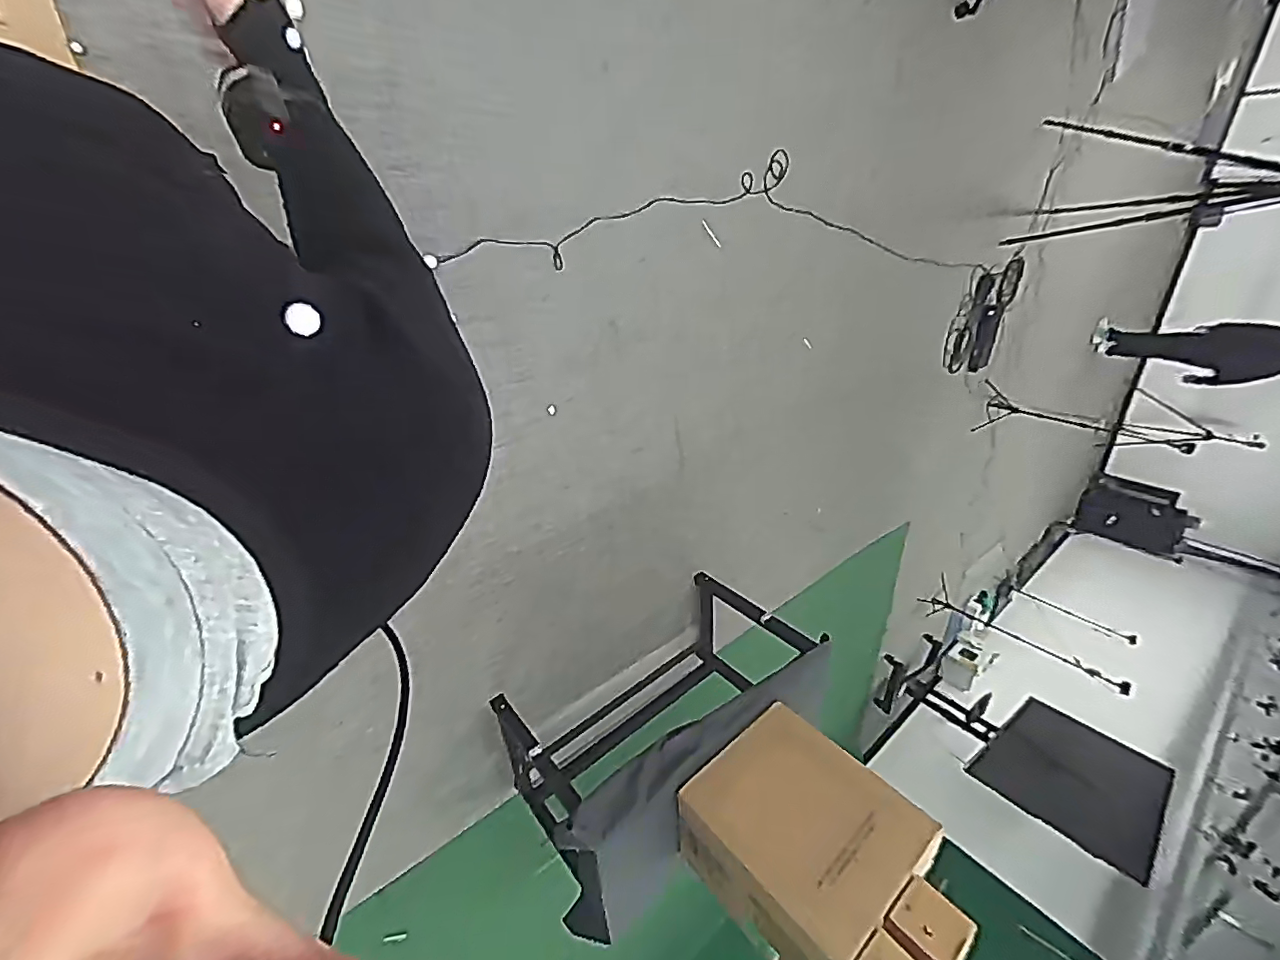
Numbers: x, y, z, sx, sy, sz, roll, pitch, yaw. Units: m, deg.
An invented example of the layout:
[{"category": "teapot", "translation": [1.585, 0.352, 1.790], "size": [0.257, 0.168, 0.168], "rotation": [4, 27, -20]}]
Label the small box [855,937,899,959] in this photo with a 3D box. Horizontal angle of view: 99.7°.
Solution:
[{"category": "small box", "translation": [0.619, 1.333, 1.379], "size": [0.168, 0.176, 0.179], "rotation": [-25, 124, -30]}]
